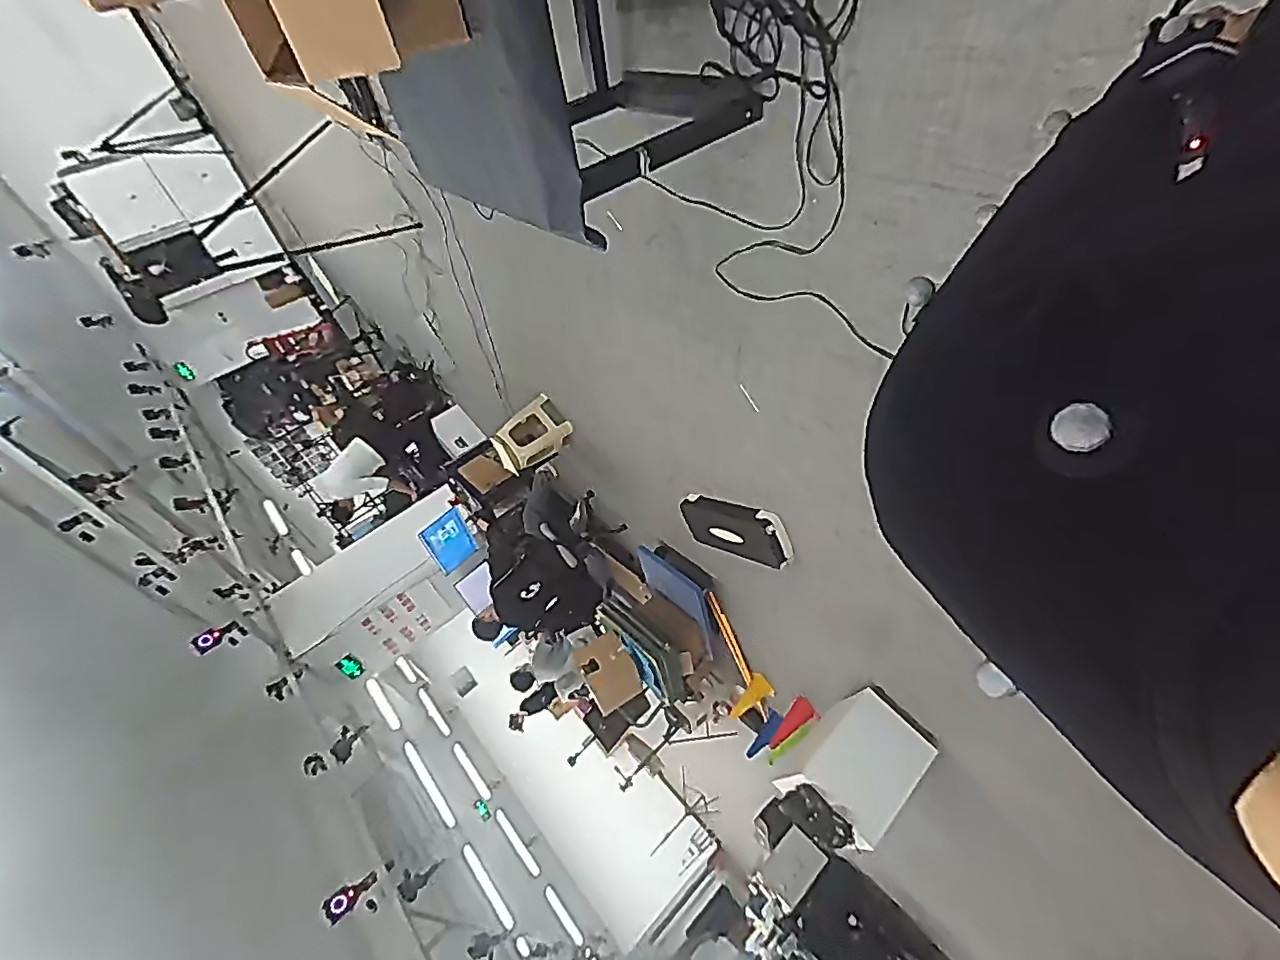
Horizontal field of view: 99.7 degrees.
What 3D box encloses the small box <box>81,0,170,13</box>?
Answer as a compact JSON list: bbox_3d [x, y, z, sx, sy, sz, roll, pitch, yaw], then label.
[{"bbox_3d":[-0.748,-0.785,0.764,0.179,0.176,0.168,37,152,34],"label":"small box"}]
